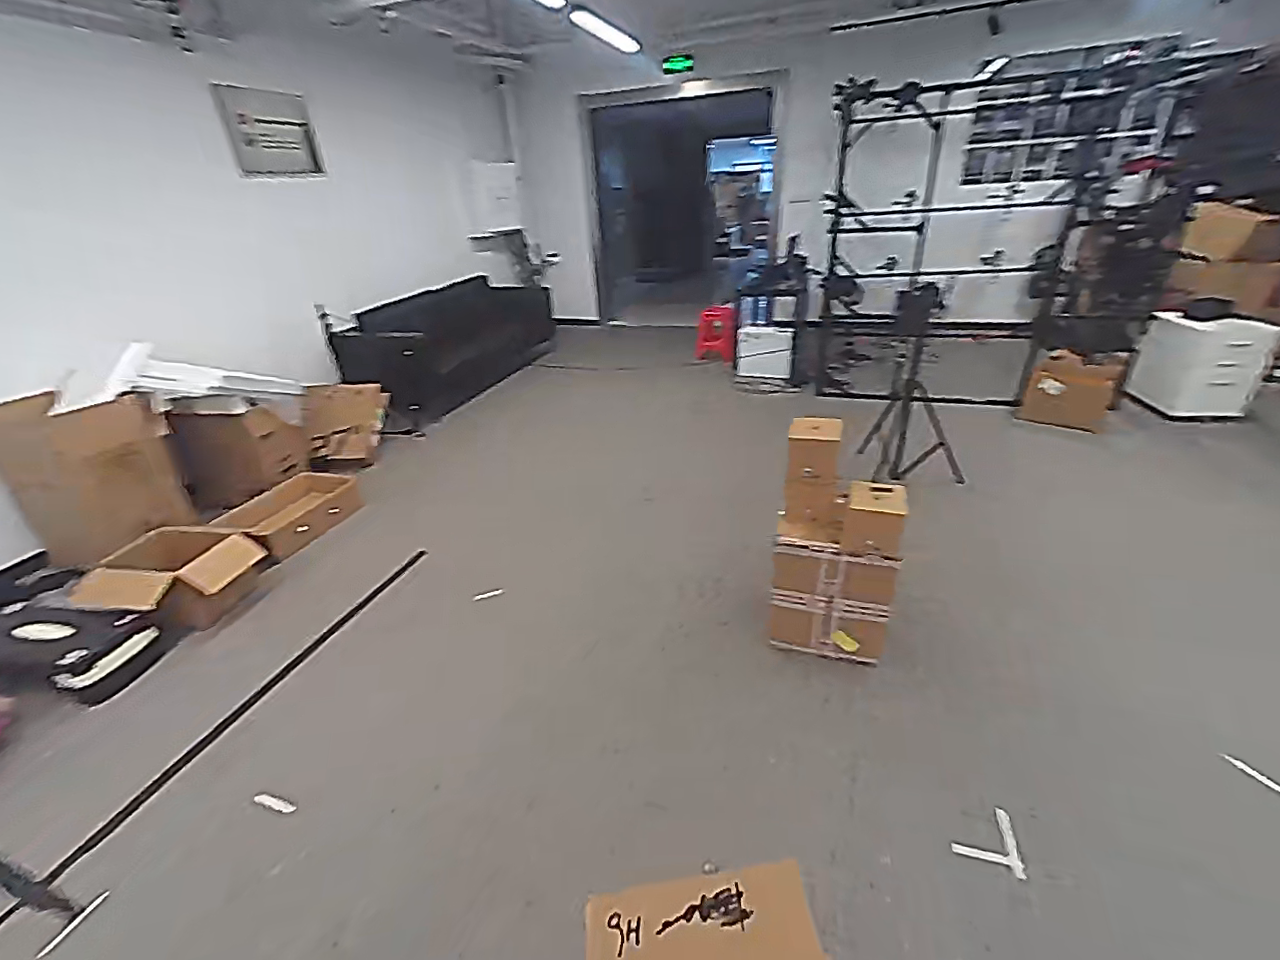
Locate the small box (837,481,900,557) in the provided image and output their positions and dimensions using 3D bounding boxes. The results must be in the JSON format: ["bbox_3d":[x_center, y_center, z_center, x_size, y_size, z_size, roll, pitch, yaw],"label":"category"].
[{"bbox_3d":[0.746,0.125,1.776,0.168,0.176,0.179,7,32,18],"label":"small box"}]

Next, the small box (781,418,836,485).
[{"bbox_3d":[0.581,-0.100,1.867,0.168,0.176,0.179,4,31,19],"label":"small box"}]

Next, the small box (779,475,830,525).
[{"bbox_3d":[0.594,0.041,1.946,0.168,0.176,0.179,5,31,19],"label":"small box"}]
